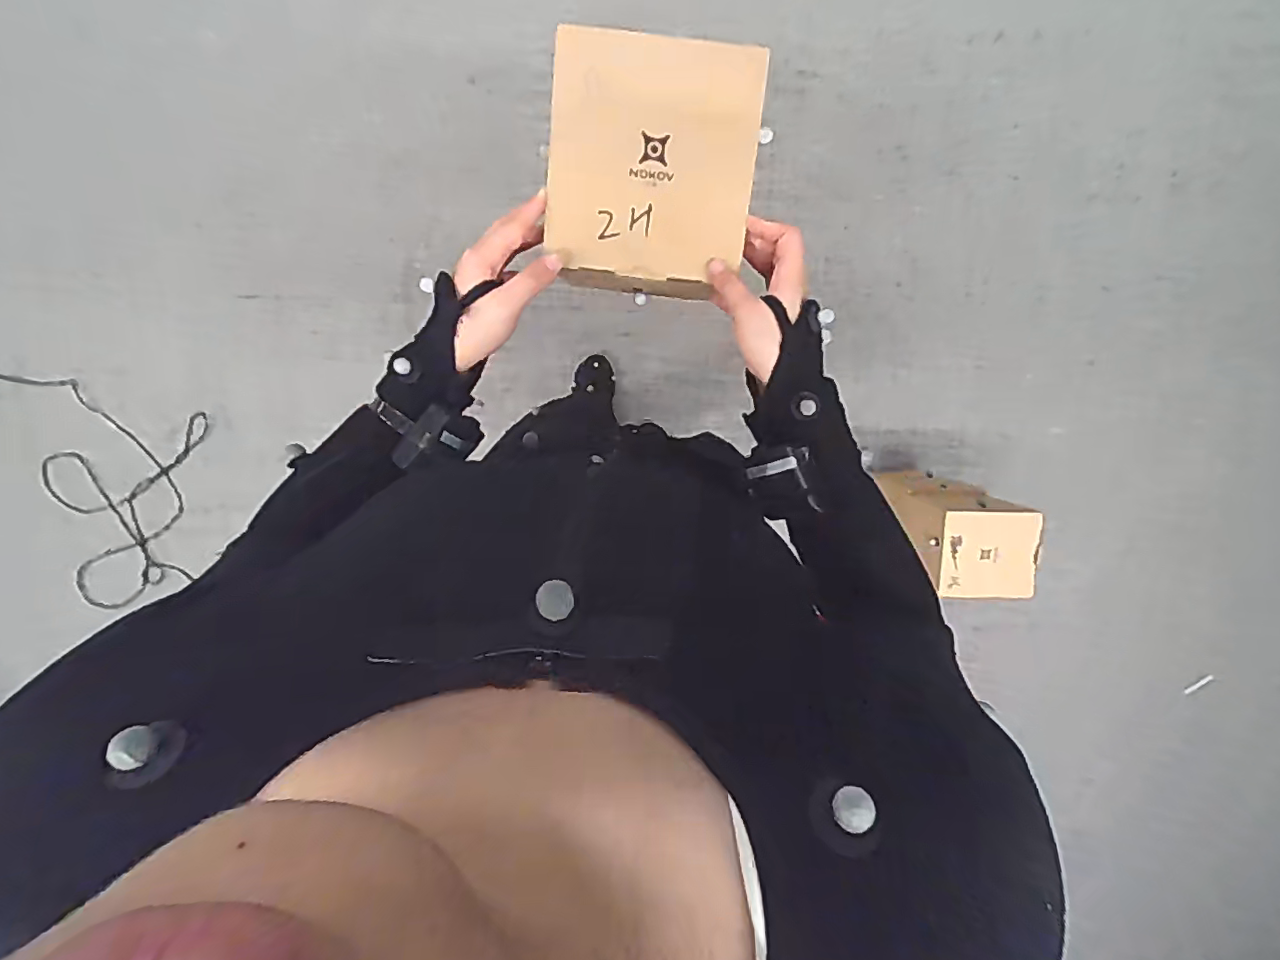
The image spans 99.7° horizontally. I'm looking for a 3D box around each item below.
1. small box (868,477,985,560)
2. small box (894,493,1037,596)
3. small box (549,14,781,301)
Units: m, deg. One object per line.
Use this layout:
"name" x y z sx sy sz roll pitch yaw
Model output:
"small box" 0.648 0.086 1.240 0.179 0.176 0.168 1 99 2
"small box" 0.638 0.122 1.080 0.179 0.176 0.168 1 99 1
"small box" 0.016 -0.274 0.504 0.168 0.176 0.179 7 104 -2
